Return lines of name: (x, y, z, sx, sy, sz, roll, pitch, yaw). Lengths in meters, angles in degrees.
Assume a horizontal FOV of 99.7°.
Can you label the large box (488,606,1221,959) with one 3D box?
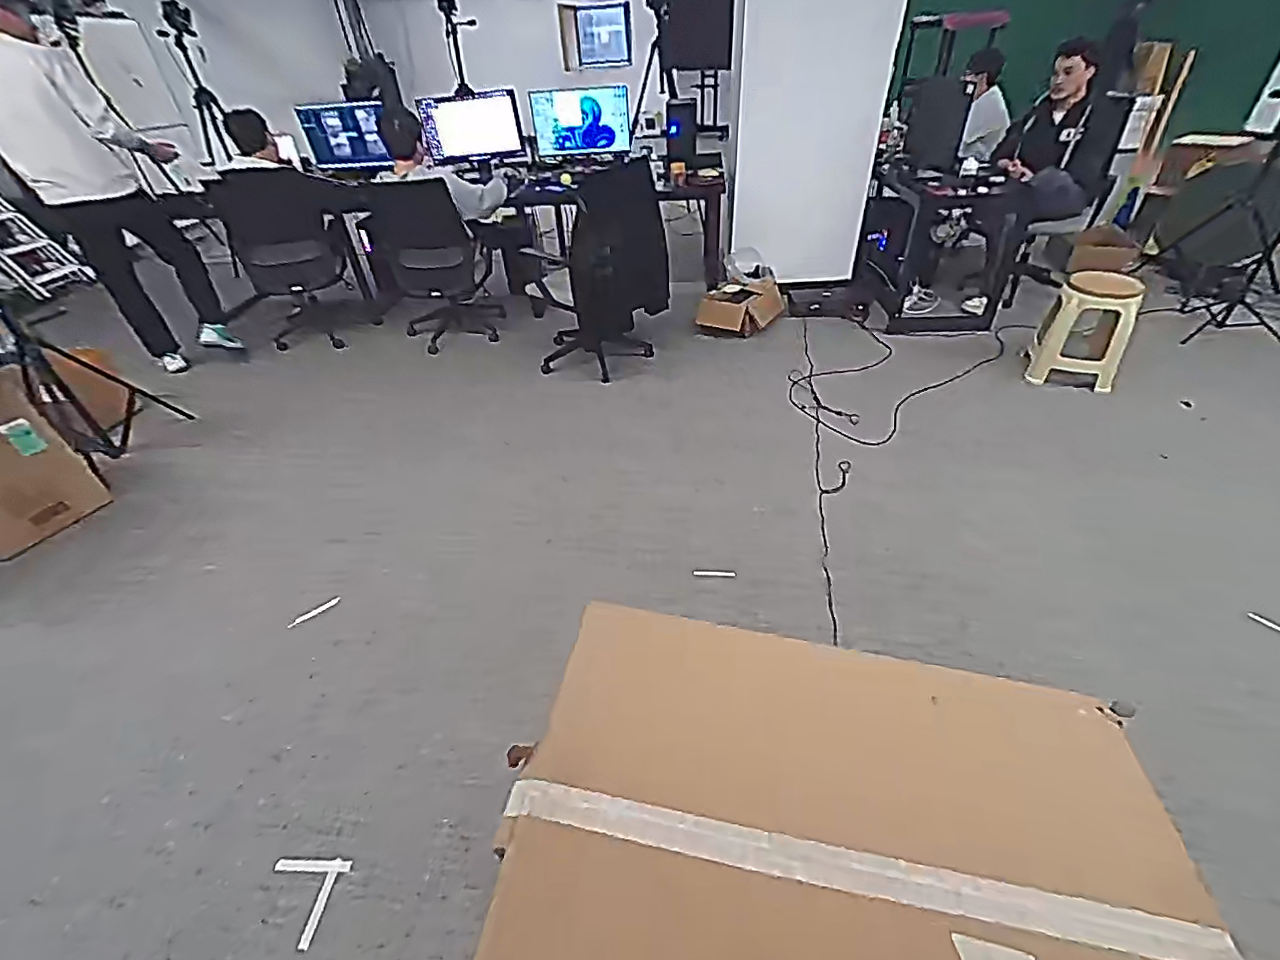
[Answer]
large box: (0.116, 0.345, 0.418, 0.408, 0.320, 0.320, 10, 40, 5)
